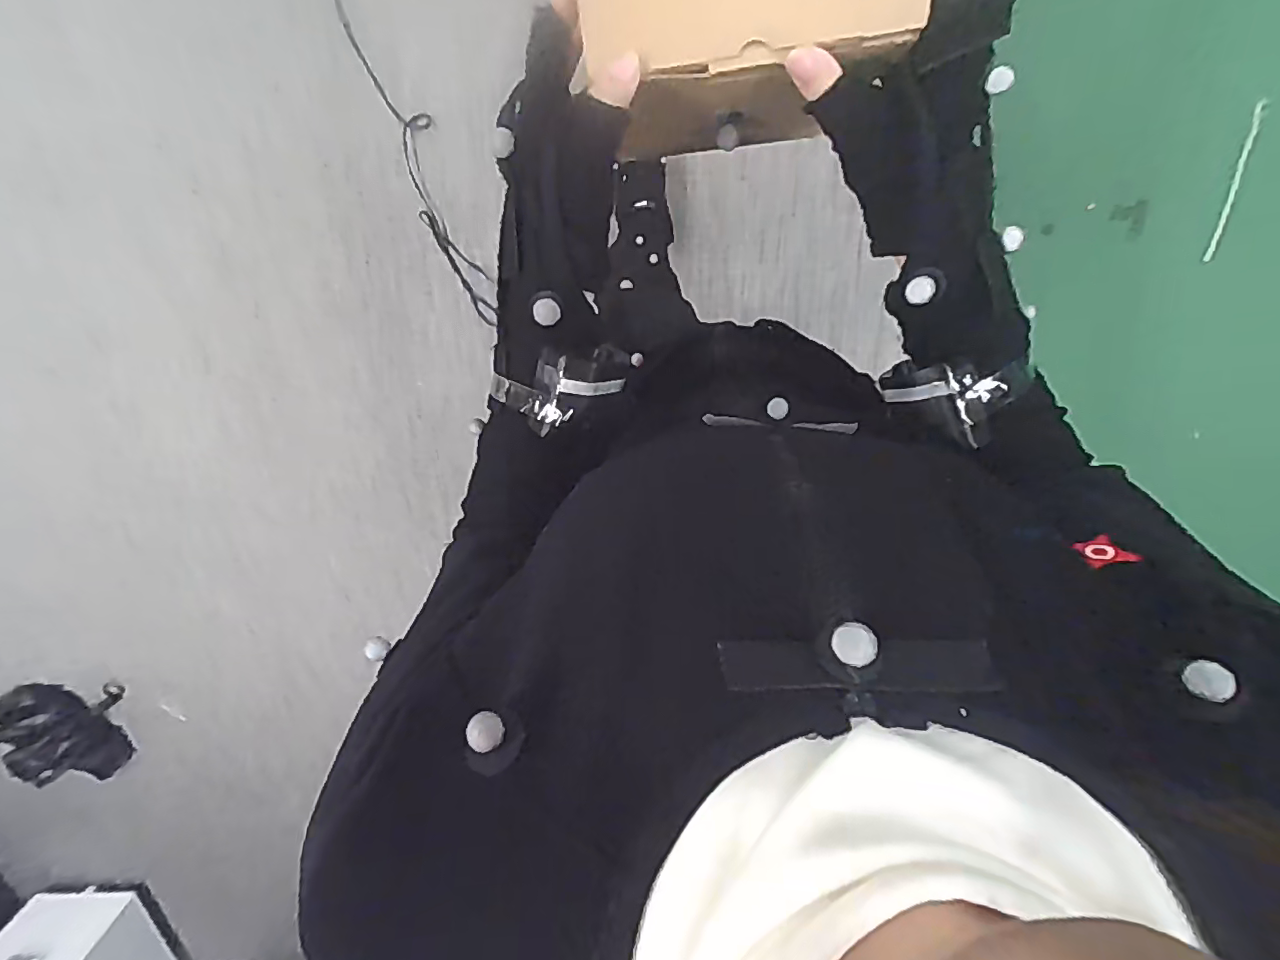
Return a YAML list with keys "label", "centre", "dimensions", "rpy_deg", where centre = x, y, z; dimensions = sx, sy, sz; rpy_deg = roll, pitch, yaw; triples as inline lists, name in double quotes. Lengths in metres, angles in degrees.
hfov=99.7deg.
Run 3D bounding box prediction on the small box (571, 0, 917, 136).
- label: "small box"
  centre: [0.044, -0.316, 0.308]
  dimensions: [0.168, 0.176, 0.179]
  rpy_deg: [-6, 110, 2]
